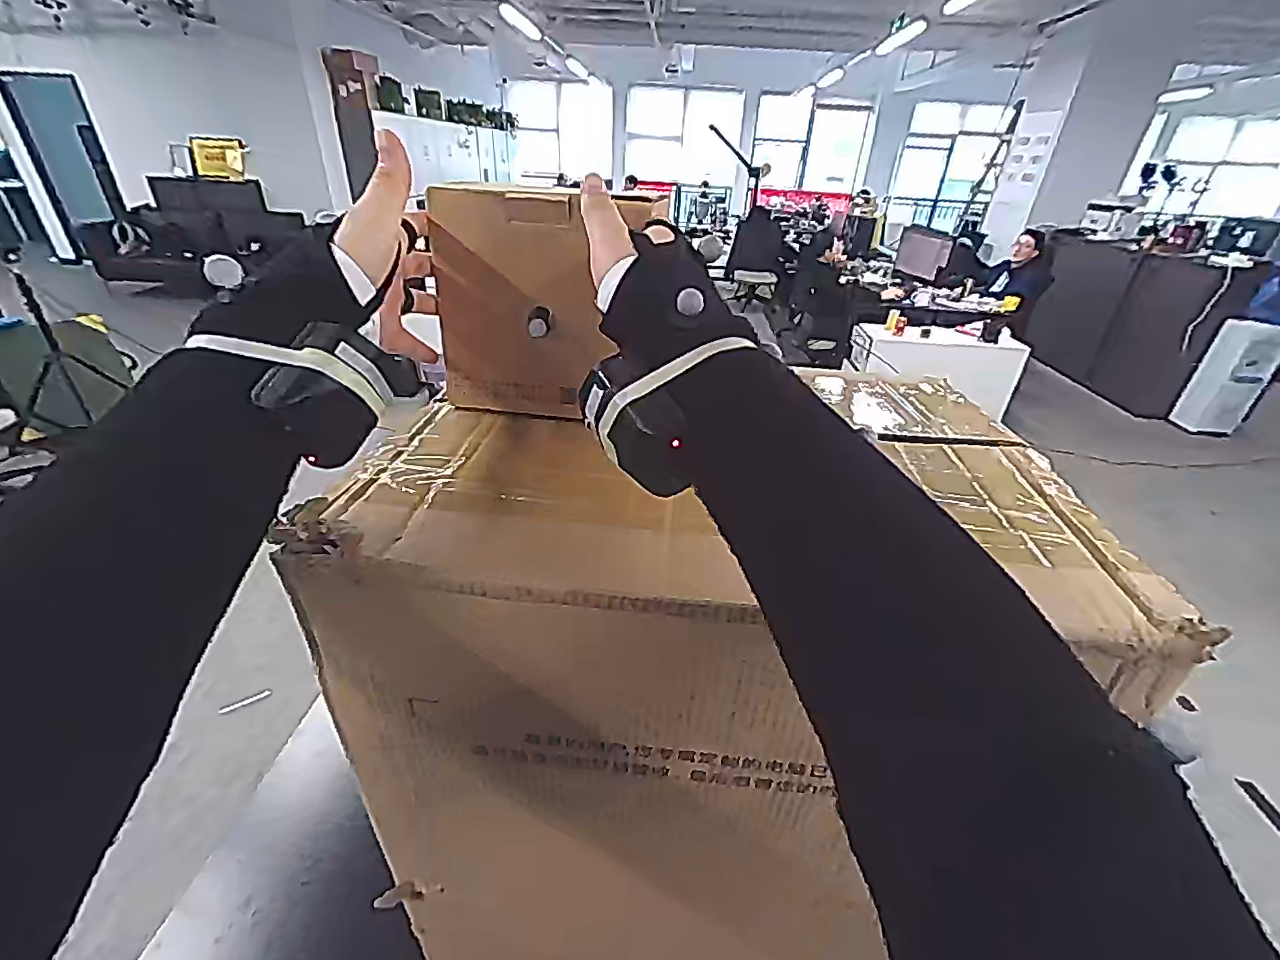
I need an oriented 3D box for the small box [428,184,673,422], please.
[{"bbox_3d":[-0.062,-0.162,0.483,0.168,0.176,0.179,6,30,4],"label":"small box"}]
